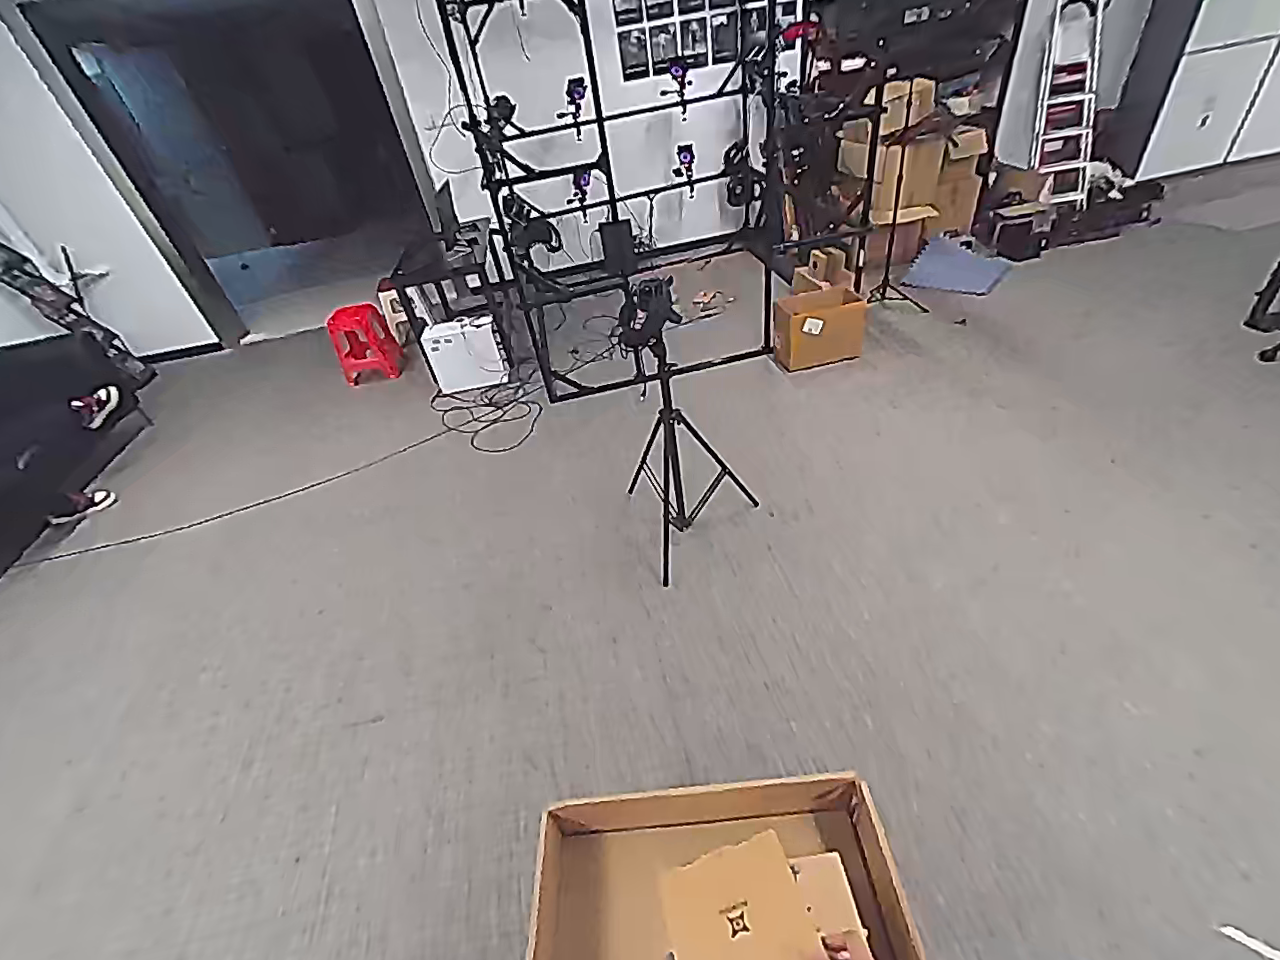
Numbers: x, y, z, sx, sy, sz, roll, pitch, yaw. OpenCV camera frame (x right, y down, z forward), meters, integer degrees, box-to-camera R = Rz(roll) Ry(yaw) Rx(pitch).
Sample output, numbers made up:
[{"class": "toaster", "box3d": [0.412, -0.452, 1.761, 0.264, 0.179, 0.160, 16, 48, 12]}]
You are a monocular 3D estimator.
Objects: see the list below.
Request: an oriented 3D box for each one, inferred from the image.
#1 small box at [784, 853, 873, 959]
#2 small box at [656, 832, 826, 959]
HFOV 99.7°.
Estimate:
[{"class": "small box", "box3d": [0.267, 0.740, 0.872, 0.168, 0.176, 0.179, -9, 37, 2]}, {"class": "small box", "box3d": [0.134, 0.582, 0.647, 0.168, 0.176, 0.179, -20, 18, -4]}]
